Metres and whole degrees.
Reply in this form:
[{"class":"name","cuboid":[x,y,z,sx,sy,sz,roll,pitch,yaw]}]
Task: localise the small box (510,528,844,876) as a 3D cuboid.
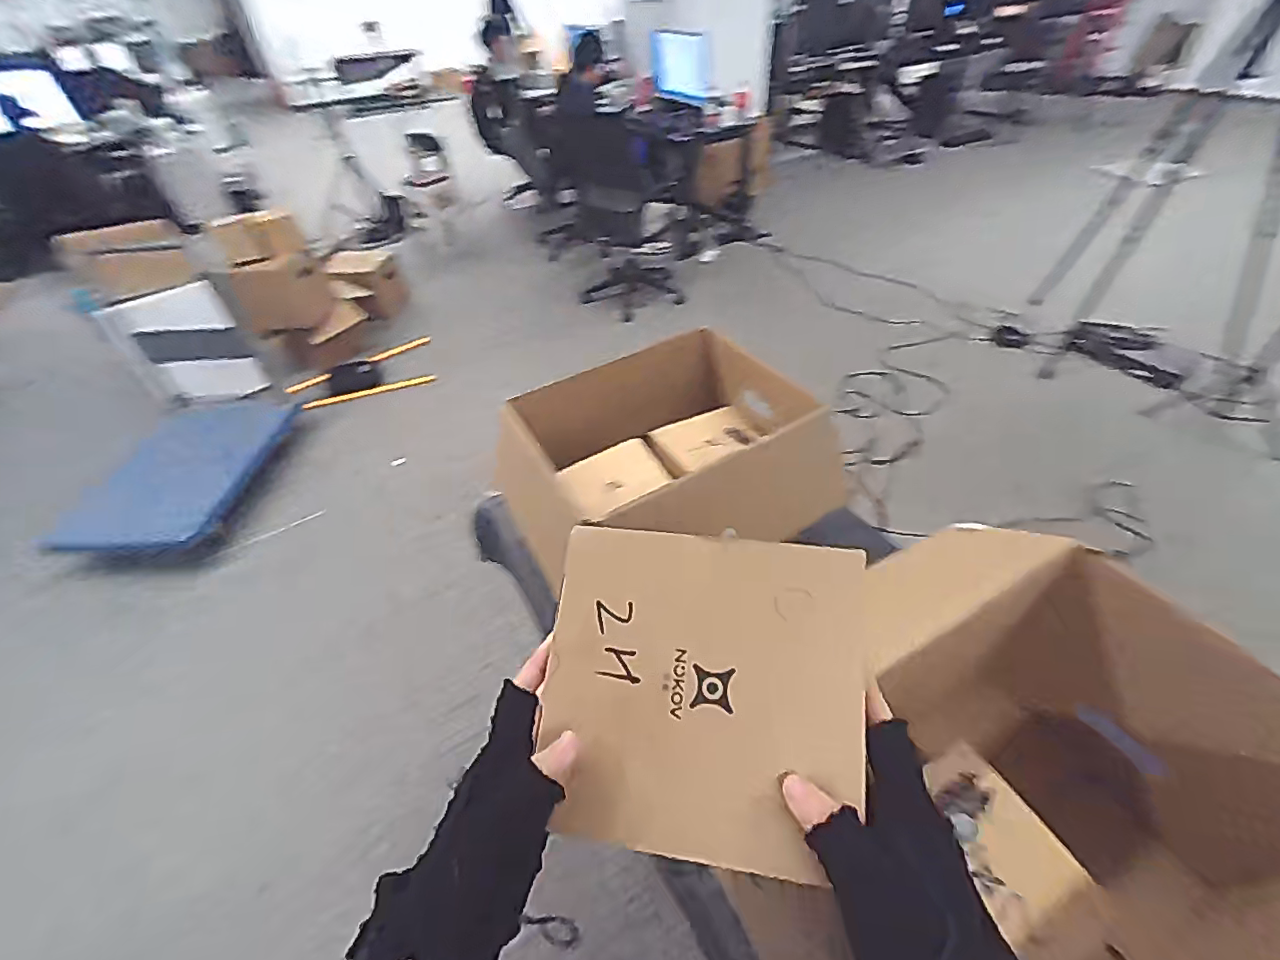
[{"class":"small box","cuboid":[0.034,0.139,0.379,0.179,0.176,0.168,4,71,10]}]
